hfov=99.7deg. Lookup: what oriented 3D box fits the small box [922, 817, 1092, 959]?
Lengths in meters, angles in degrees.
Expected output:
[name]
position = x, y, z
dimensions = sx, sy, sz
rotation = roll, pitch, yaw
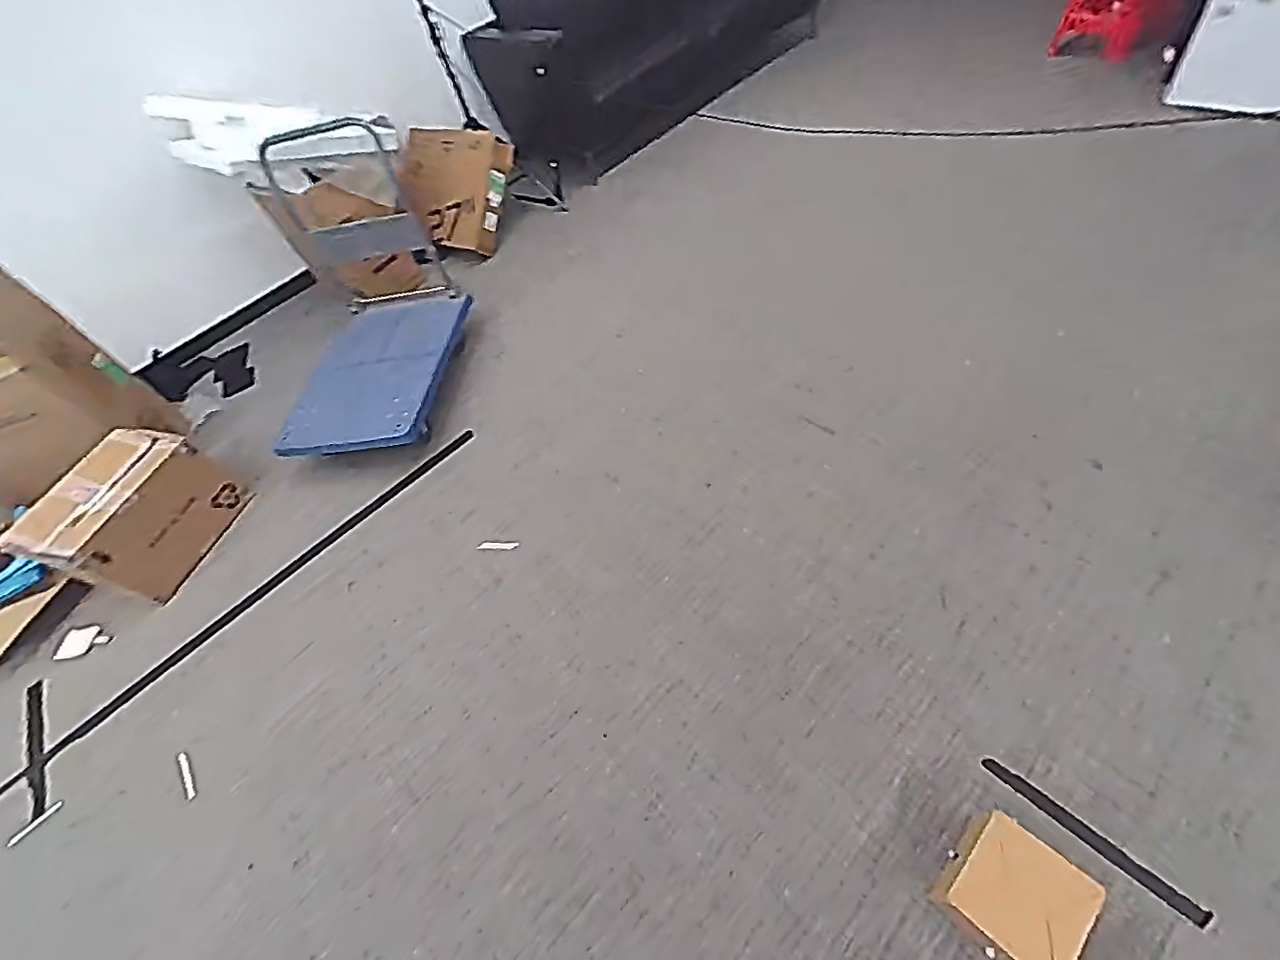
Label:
[small box]
position = 0.622, 0.713, 0.927
dimensions = 0.179, 0.176, 0.168
rotation = -43, 54, -18
